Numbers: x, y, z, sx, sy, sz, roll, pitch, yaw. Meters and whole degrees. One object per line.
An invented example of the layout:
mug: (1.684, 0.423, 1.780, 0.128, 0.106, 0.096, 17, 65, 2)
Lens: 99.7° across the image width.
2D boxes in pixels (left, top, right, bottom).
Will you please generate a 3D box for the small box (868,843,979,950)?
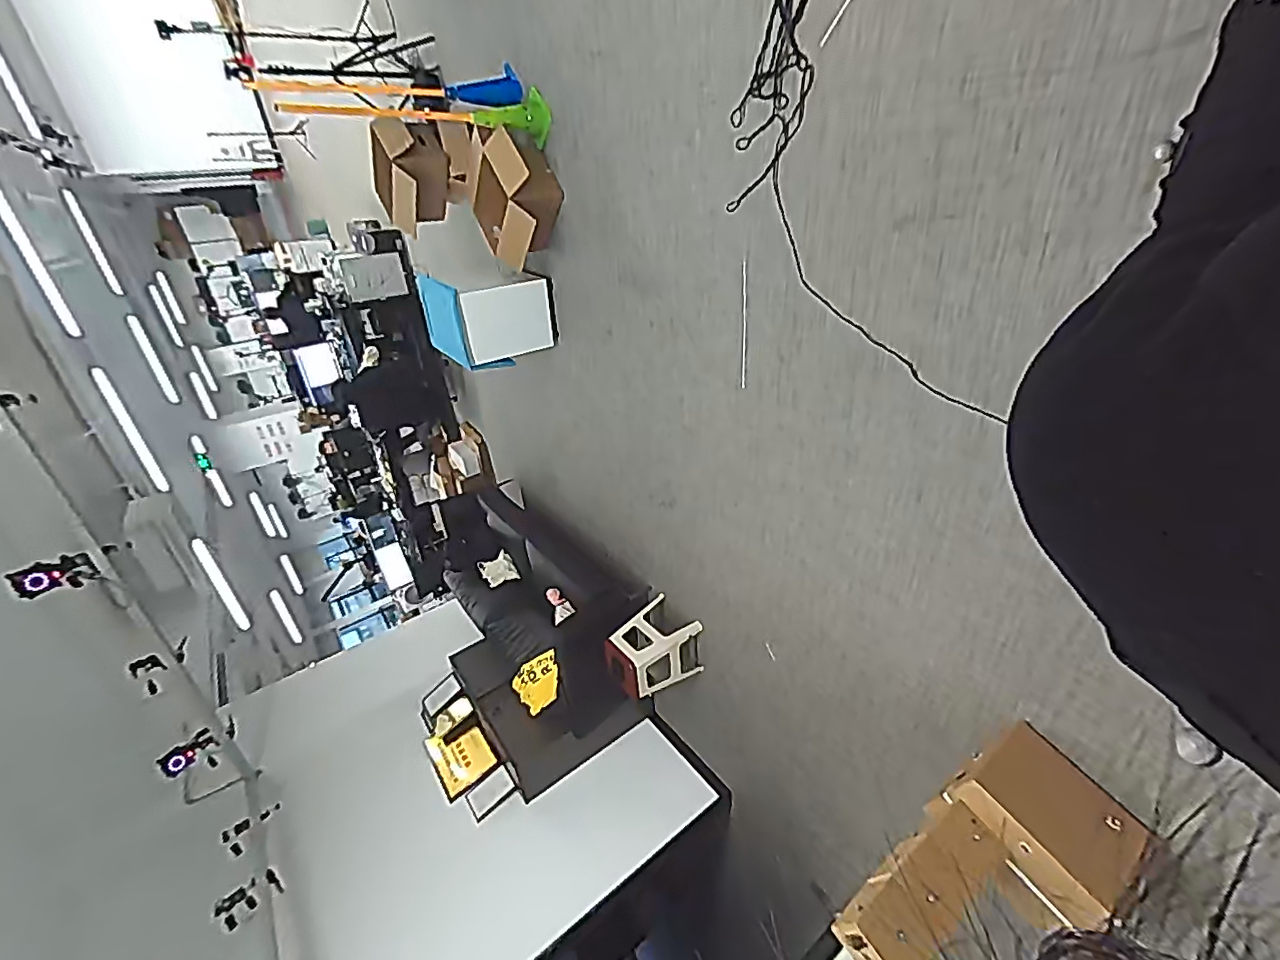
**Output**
small box: (0.778, 1.139, 1.490, 0.179, 0.176, 0.168, 47, 146, 30)

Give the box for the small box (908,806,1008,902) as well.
small box: (0.914, 1.088, 1.563, 0.168, 0.176, 0.179, 47, 146, 32)
